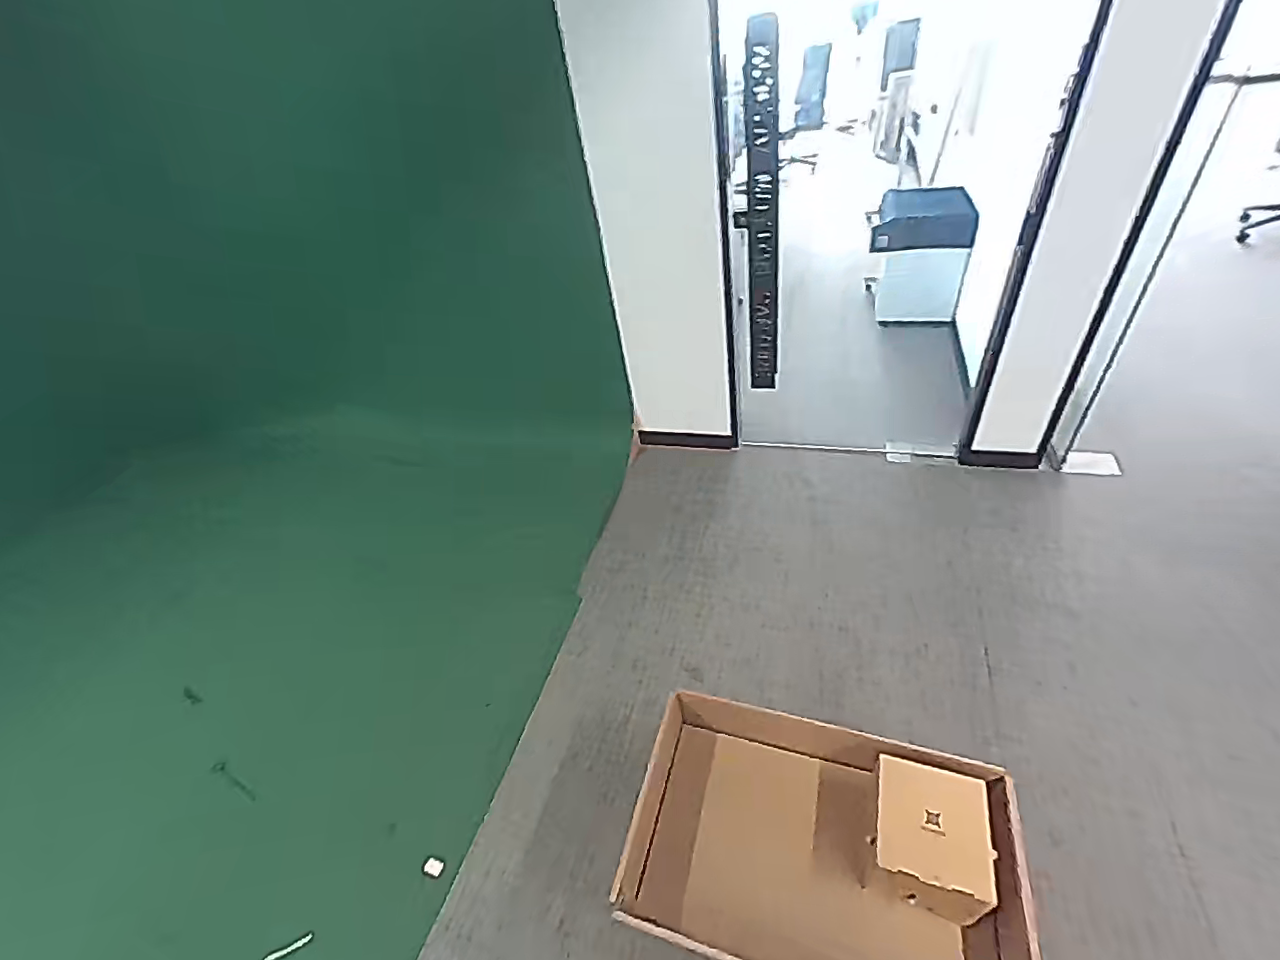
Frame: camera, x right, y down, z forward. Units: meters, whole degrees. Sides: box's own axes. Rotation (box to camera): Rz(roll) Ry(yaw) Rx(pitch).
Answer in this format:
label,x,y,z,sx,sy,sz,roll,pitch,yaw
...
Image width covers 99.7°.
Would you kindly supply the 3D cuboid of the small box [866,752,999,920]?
label,x,y,z,sx,sy,sz,roll,pitch,yaw
small box,0.488,0.607,0.924,0.168,0.176,0.179,8,46,19
